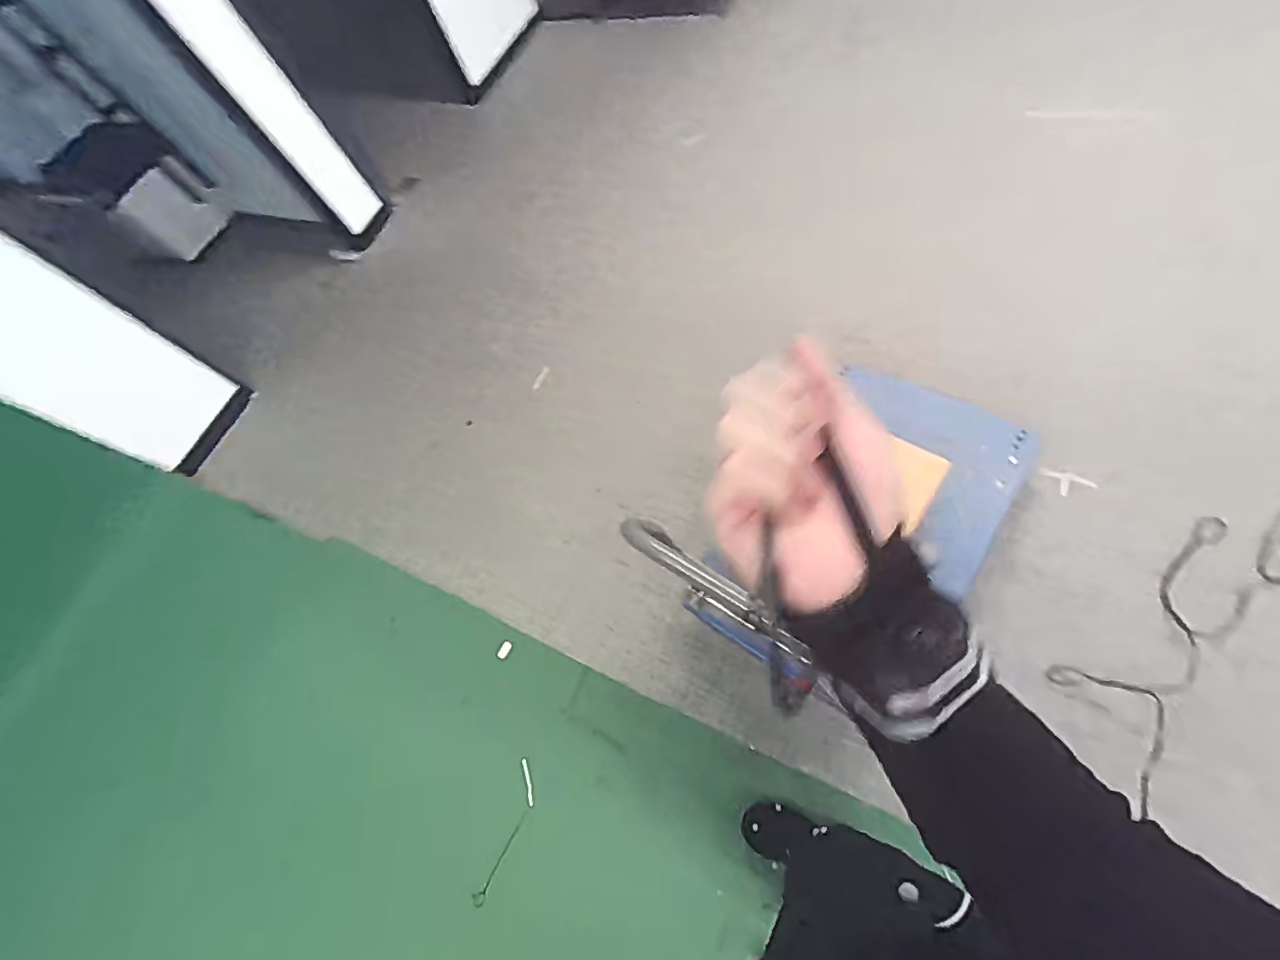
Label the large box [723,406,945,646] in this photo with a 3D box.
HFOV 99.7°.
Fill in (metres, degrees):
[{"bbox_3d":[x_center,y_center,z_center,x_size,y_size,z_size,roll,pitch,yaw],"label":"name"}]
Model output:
[{"bbox_3d":[0.442,0.114,1.267,0.320,0.320,0.408,30,75,27],"label":"large box"}]
